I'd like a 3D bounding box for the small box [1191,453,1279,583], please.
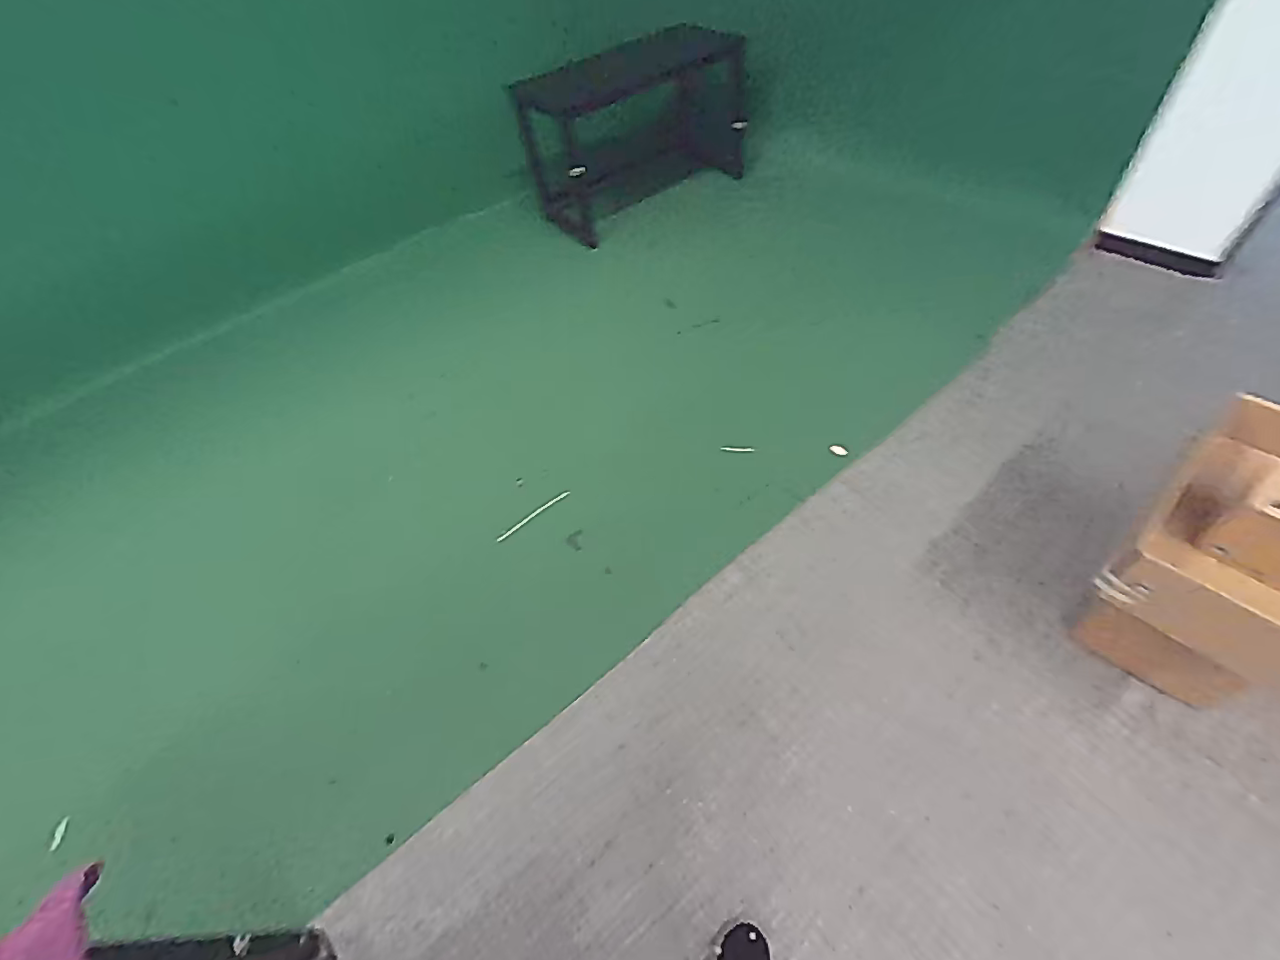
[{"bbox_3d":[1.336,0.084,1.144,0.179,0.176,0.168,-37,55,-21],"label":"small box"}]
